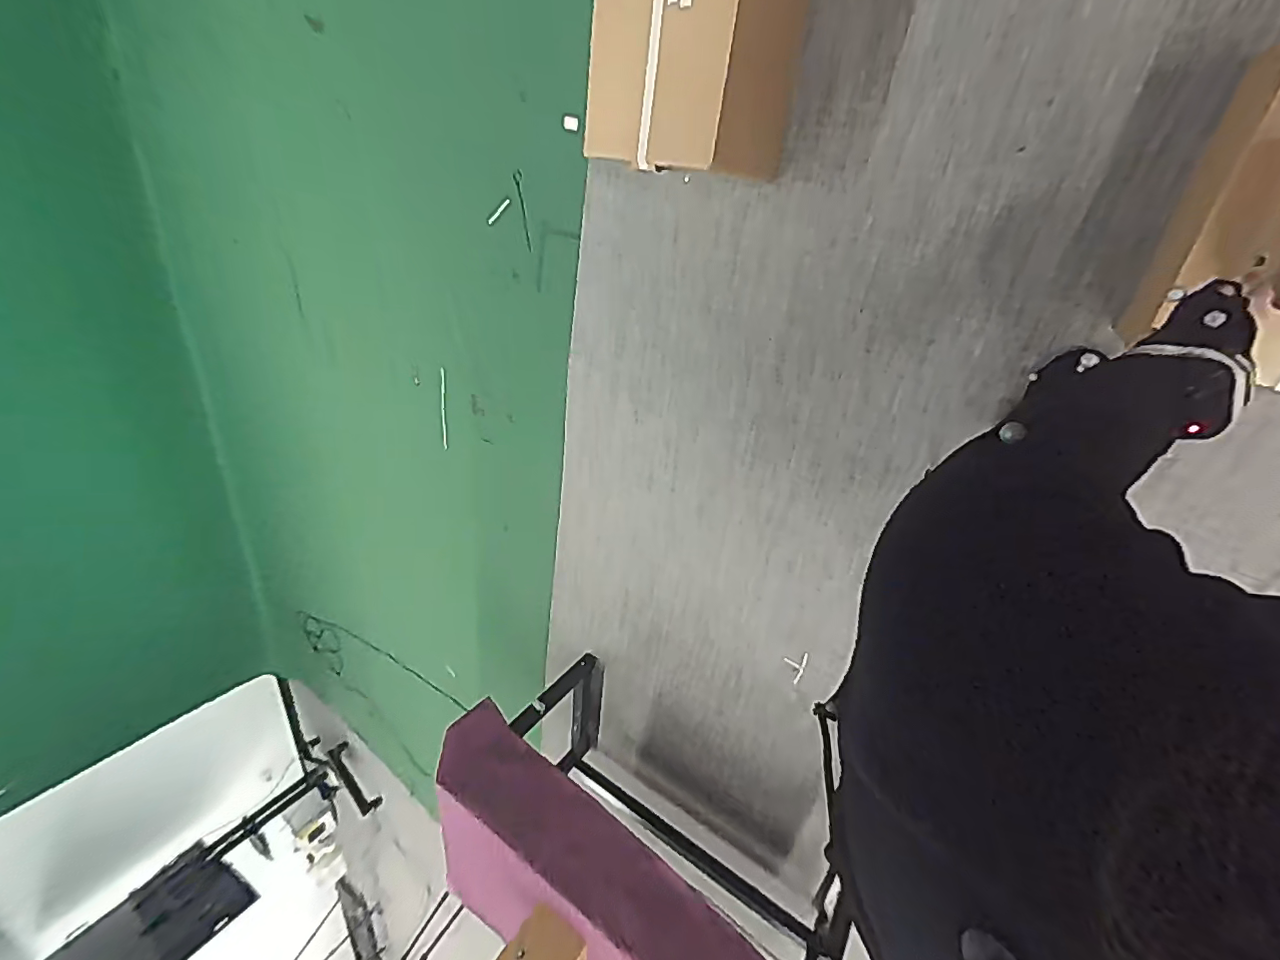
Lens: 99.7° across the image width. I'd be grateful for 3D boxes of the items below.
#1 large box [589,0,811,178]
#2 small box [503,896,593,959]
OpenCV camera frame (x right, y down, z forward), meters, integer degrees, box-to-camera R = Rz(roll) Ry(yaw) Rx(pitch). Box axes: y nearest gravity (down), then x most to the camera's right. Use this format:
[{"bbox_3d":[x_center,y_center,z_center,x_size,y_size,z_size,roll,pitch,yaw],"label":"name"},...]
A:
[{"bbox_3d":[0.123,-0.863,1.096,0.320,0.320,0.408,24,122,27],"label":"large box"},{"bbox_3d":[-0.253,1.292,1.478,0.179,0.176,0.168,22,123,27],"label":"small box"}]
